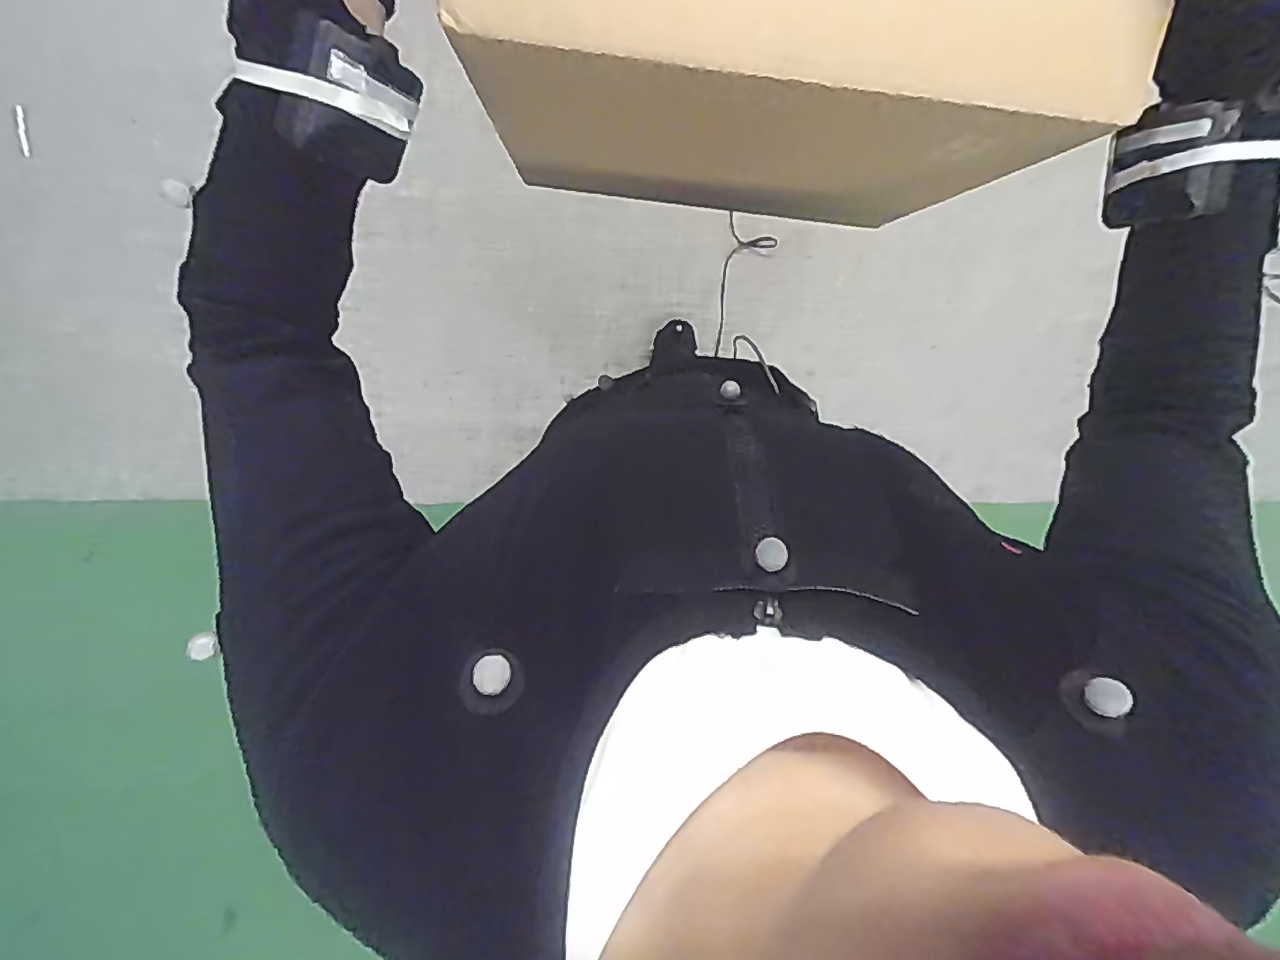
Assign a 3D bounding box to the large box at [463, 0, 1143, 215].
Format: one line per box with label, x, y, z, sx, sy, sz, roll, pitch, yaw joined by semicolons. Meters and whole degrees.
large box;0.096;-0.422;0.425;0.408;0.320;0.320;4;105;-5
